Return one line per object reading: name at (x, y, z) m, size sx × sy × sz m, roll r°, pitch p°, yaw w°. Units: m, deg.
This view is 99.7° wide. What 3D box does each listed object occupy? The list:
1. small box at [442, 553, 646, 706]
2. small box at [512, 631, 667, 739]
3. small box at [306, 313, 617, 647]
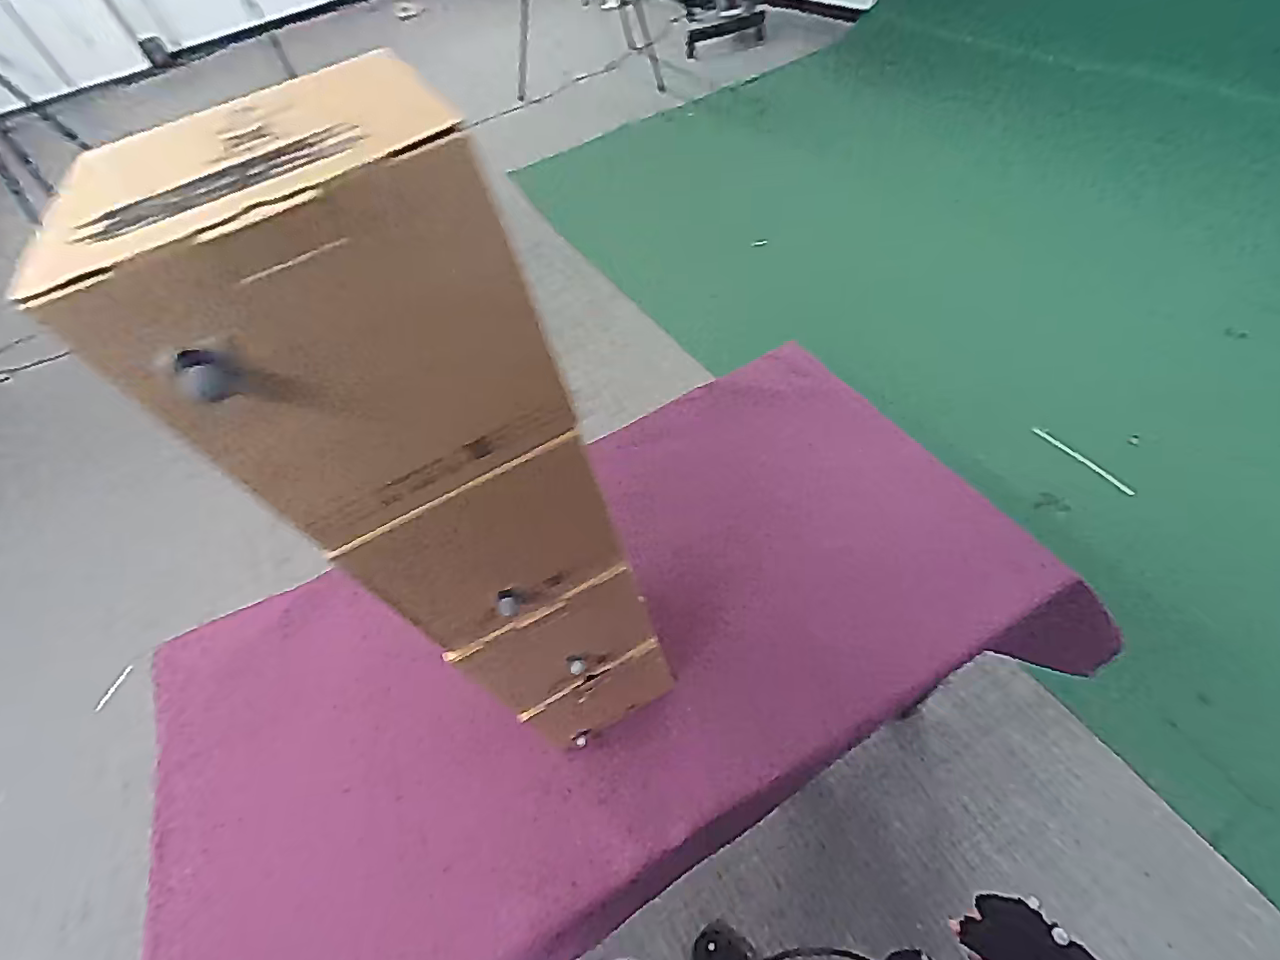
small box at (-0.110, 0.103, 0.568) m, size 0.168 × 0.176 × 0.179 m, roll -27°, pitch 53°, yaw -9°
small box at (-0.079, 0.207, 0.692) m, size 0.168 × 0.176 × 0.179 m, roll -27°, pitch 52°, yaw -10°
small box at (-0.137, 0.002, 0.443) m, size 0.168 × 0.176 × 0.179 m, roll -27°, pitch 53°, yaw -9°
